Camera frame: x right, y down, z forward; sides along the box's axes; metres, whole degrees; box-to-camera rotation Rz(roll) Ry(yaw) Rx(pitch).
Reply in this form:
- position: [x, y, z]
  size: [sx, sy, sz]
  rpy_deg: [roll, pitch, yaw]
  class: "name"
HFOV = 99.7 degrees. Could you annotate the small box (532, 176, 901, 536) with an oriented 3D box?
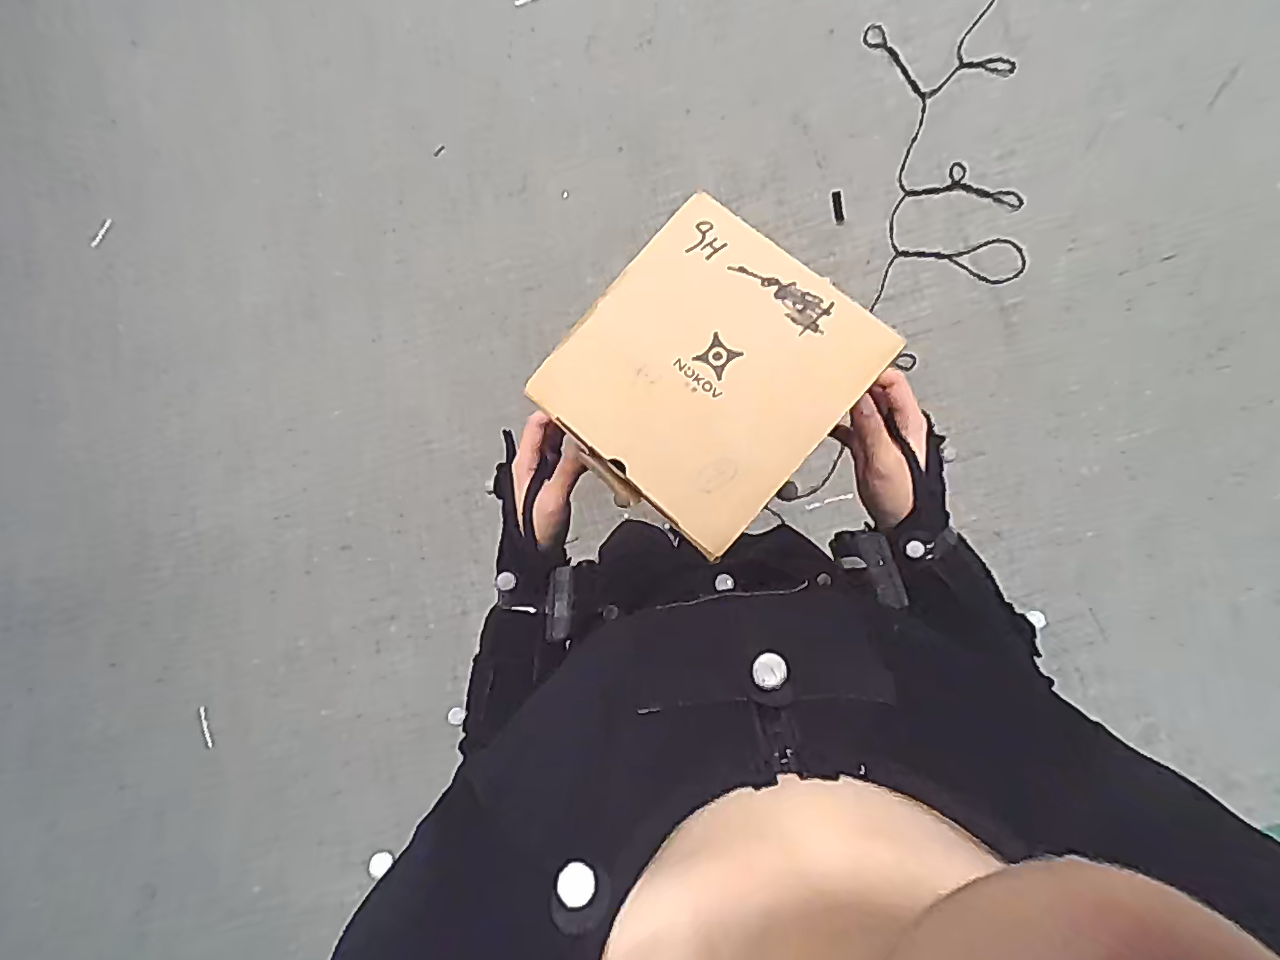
- position: [0.055, -0.073, 0.415]
  size: [0.168, 0.176, 0.179]
  rpy_deg: [40, 91, 10]
  class: "small box"
